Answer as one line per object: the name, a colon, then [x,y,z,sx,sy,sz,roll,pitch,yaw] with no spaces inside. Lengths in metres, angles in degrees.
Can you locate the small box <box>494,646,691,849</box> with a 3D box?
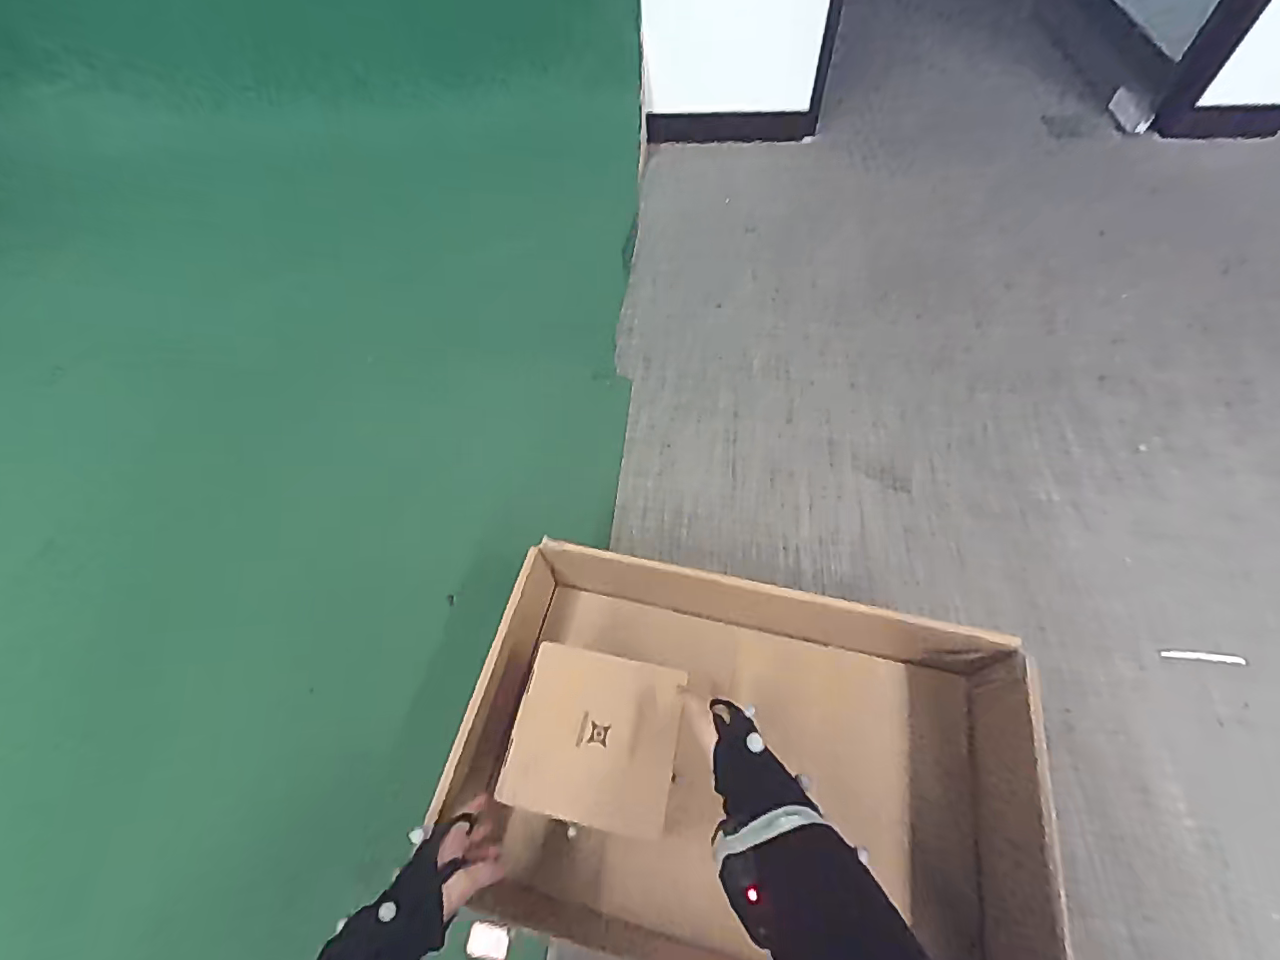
small box: [-0.042,0.315,0.637,0.179,0.176,0.168,10,60,9]
